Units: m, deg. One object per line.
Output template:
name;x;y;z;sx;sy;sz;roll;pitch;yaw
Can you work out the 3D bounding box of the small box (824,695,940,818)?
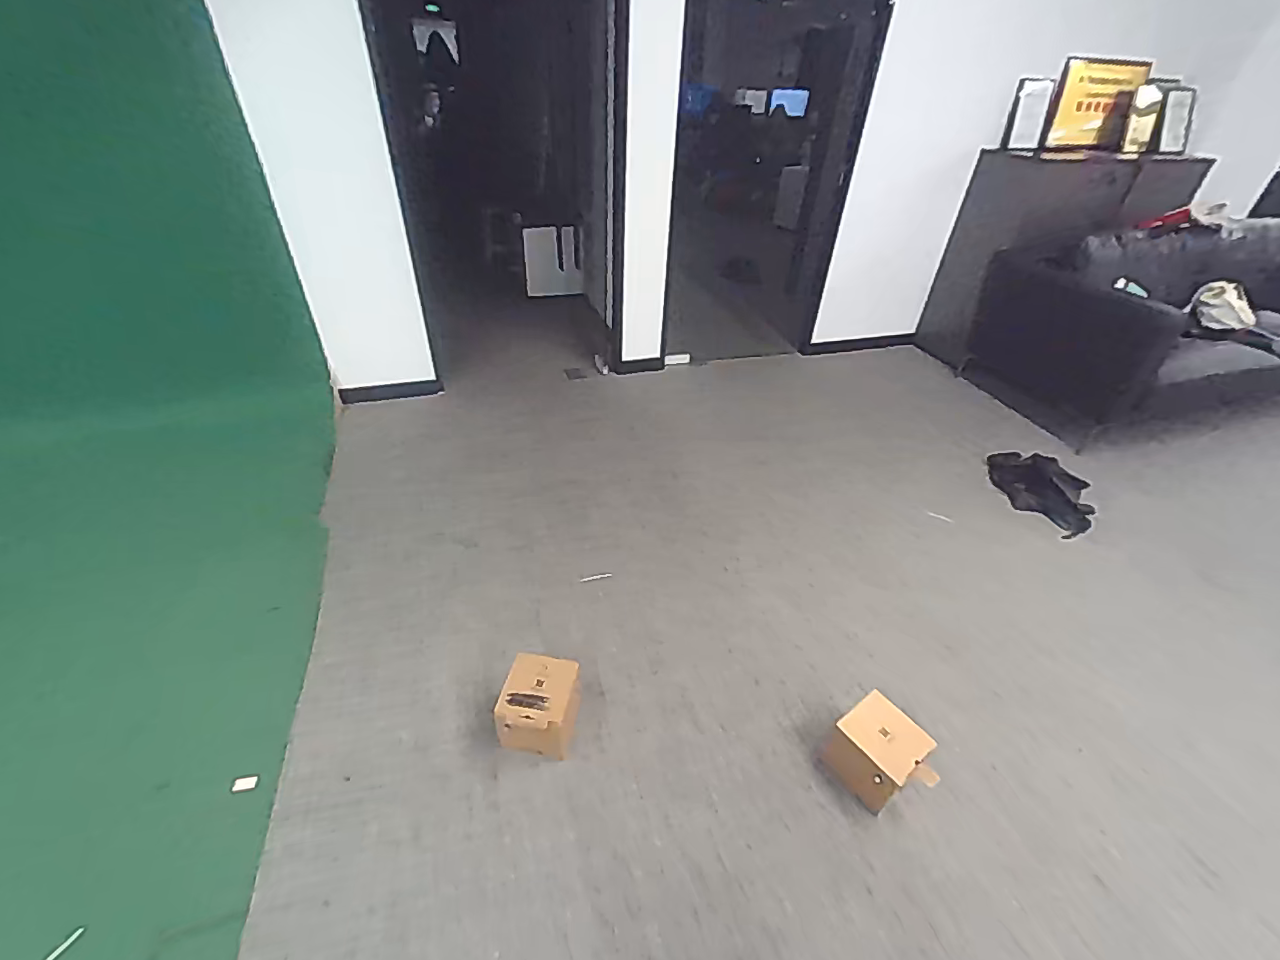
small box;0.582;0.676;1.324;0.168;0.176;0.179;-23;46;-30
